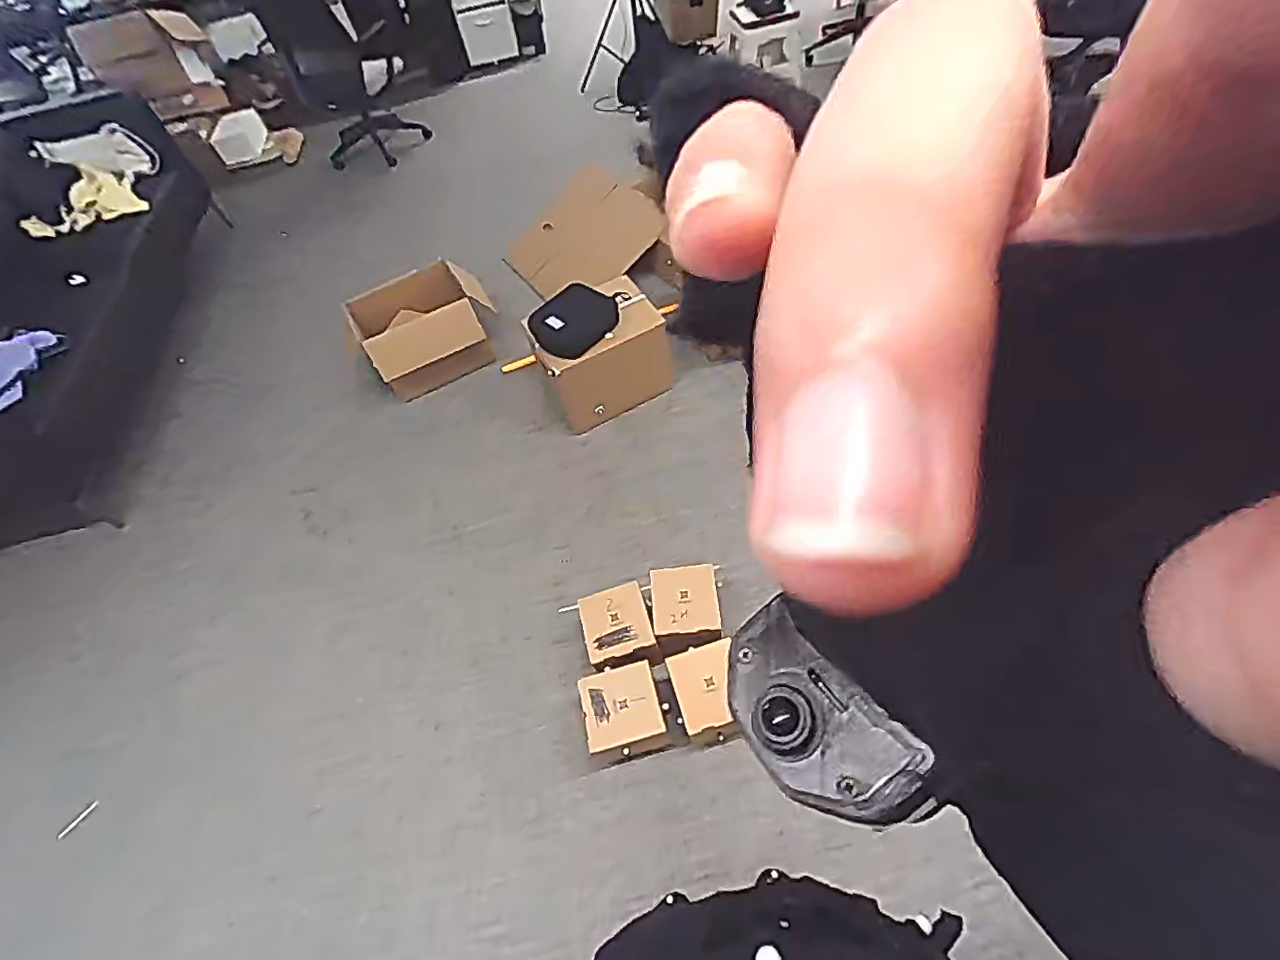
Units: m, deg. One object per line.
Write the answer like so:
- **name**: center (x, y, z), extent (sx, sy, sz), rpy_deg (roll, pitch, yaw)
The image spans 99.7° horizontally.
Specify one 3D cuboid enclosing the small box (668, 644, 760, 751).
- **small box**: center (0.172, 0.521, 1.289), extent (0.168, 0.176, 0.179), rpy_deg (-18, 55, -3)
